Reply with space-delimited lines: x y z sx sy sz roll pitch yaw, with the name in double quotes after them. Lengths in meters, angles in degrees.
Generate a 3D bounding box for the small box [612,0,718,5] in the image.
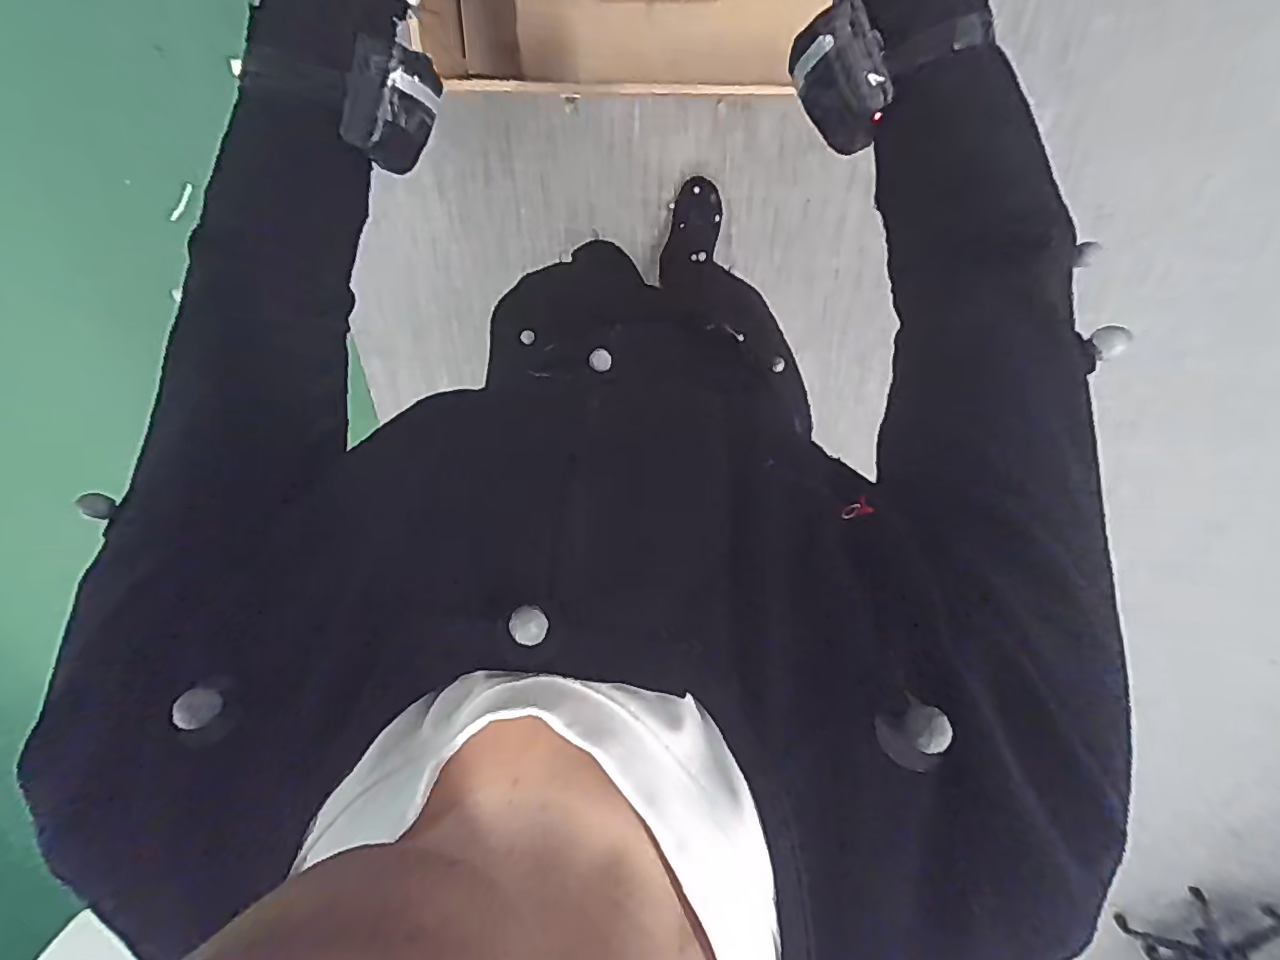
0.023 -0.670 0.614 0.168 0.176 0.179 2 119 4 "small box"
